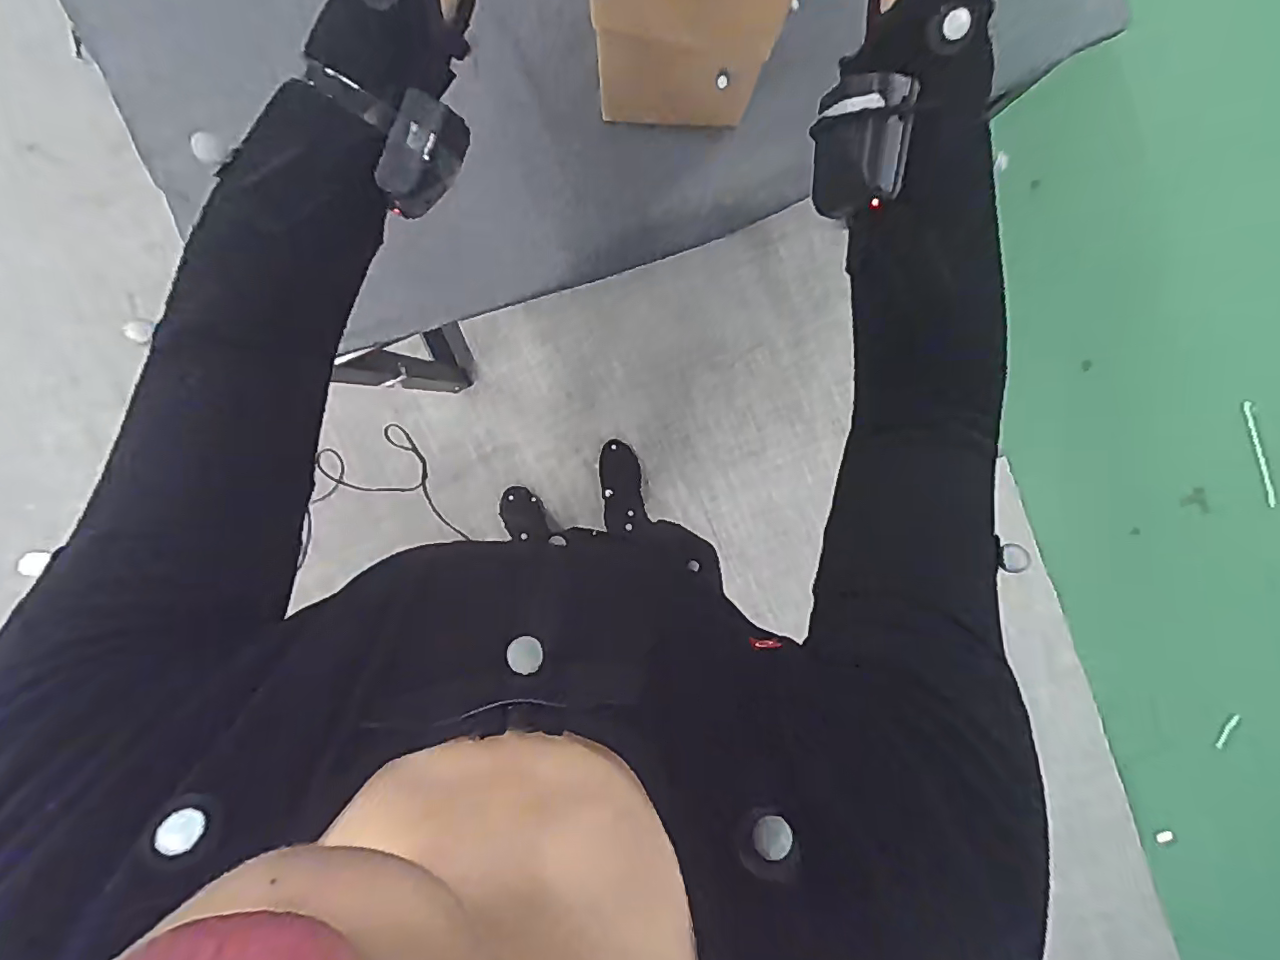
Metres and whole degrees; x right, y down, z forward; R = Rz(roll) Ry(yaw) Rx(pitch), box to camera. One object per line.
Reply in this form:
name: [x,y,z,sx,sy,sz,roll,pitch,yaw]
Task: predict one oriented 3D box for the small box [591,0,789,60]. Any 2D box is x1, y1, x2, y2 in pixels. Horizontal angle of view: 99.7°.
small box: [0.054,-0.485,0.435,0.179,0.176,0.168,9,96,-2]
